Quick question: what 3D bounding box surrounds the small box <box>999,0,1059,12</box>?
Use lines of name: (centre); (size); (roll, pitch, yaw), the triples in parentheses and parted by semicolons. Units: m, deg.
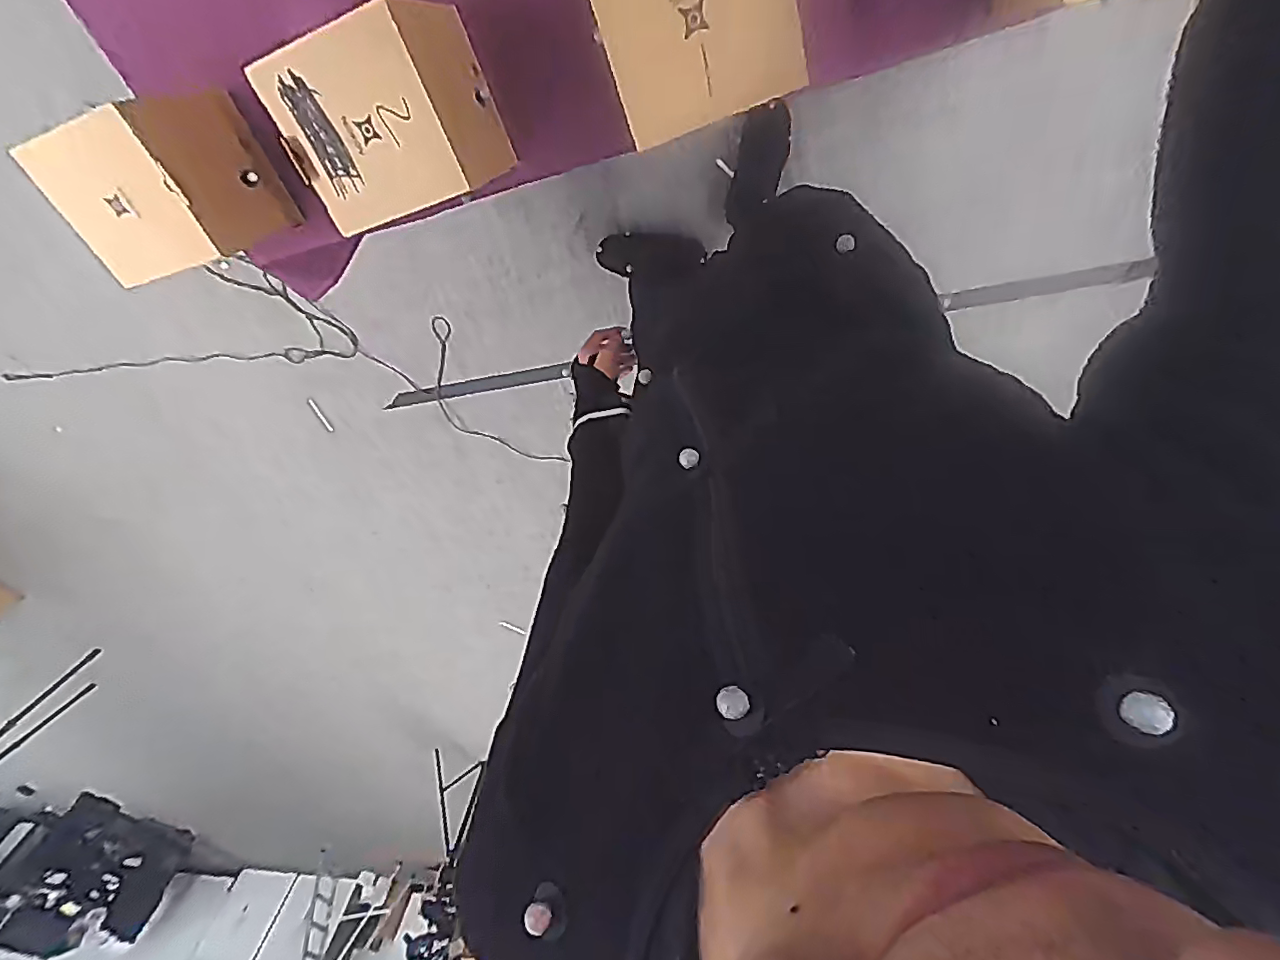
small box: (0.397, -0.499, 0.415); (0.168, 0.176, 0.179); (-6, 127, 17)

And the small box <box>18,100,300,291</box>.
small box: (-0.599, -0.369, 0.702); (0.179, 0.176, 0.168); (-9, 126, 15)

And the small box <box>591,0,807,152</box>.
small box: (0.055, -0.450, 0.519); (0.168, 0.176, 0.179); (-11, 127, 19)
